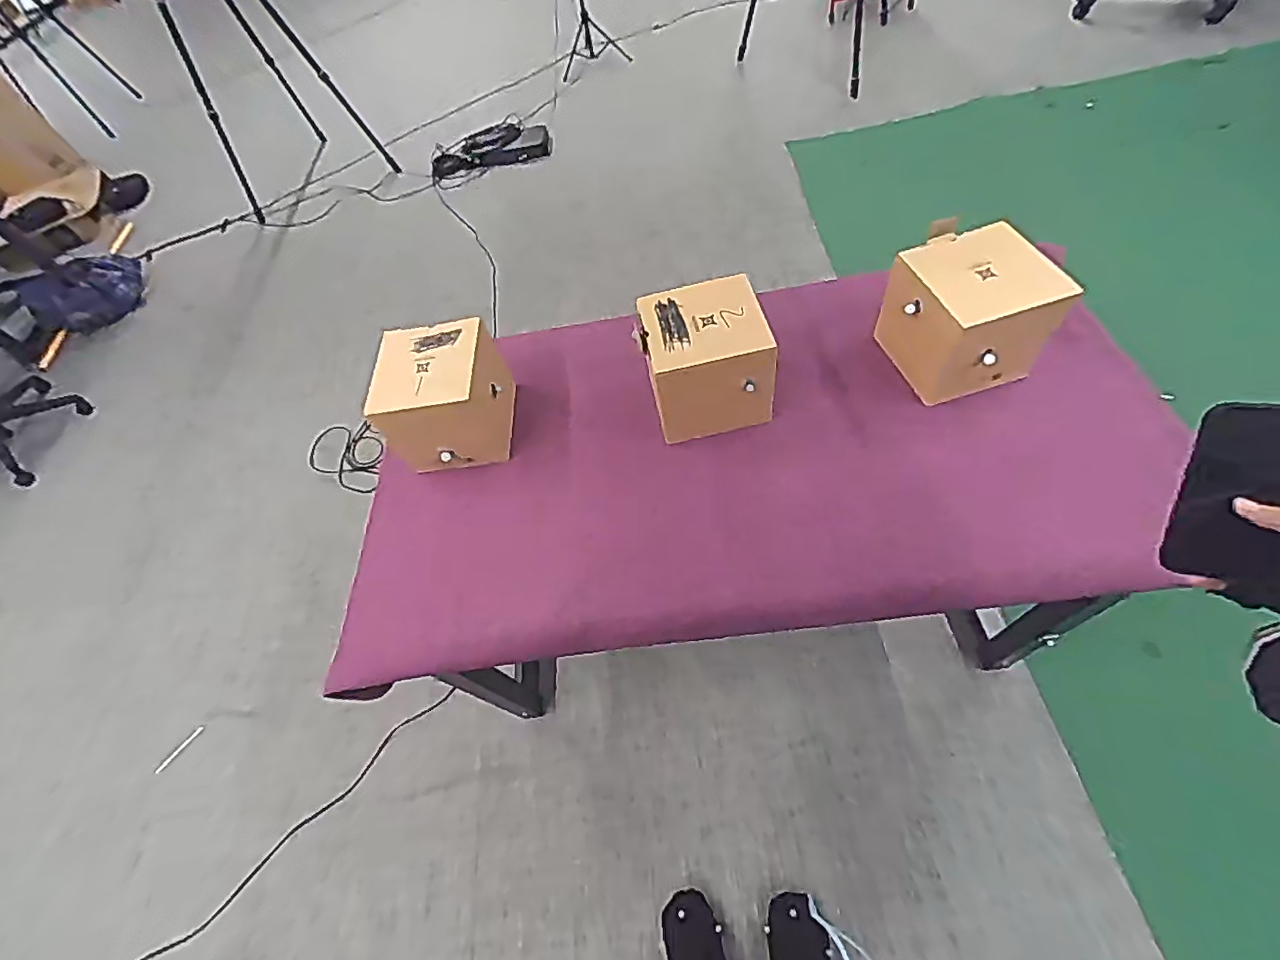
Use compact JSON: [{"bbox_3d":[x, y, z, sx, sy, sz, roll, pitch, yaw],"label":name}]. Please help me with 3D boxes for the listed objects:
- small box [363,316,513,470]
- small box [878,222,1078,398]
[{"bbox_3d":[-0.317,-0.138,0.891,0.168,0.176,0.179,-7,59,6],"label":"small box"},{"bbox_3d":[0.487,-0.244,0.813,0.168,0.176,0.179,-17,56,0],"label":"small box"}]
